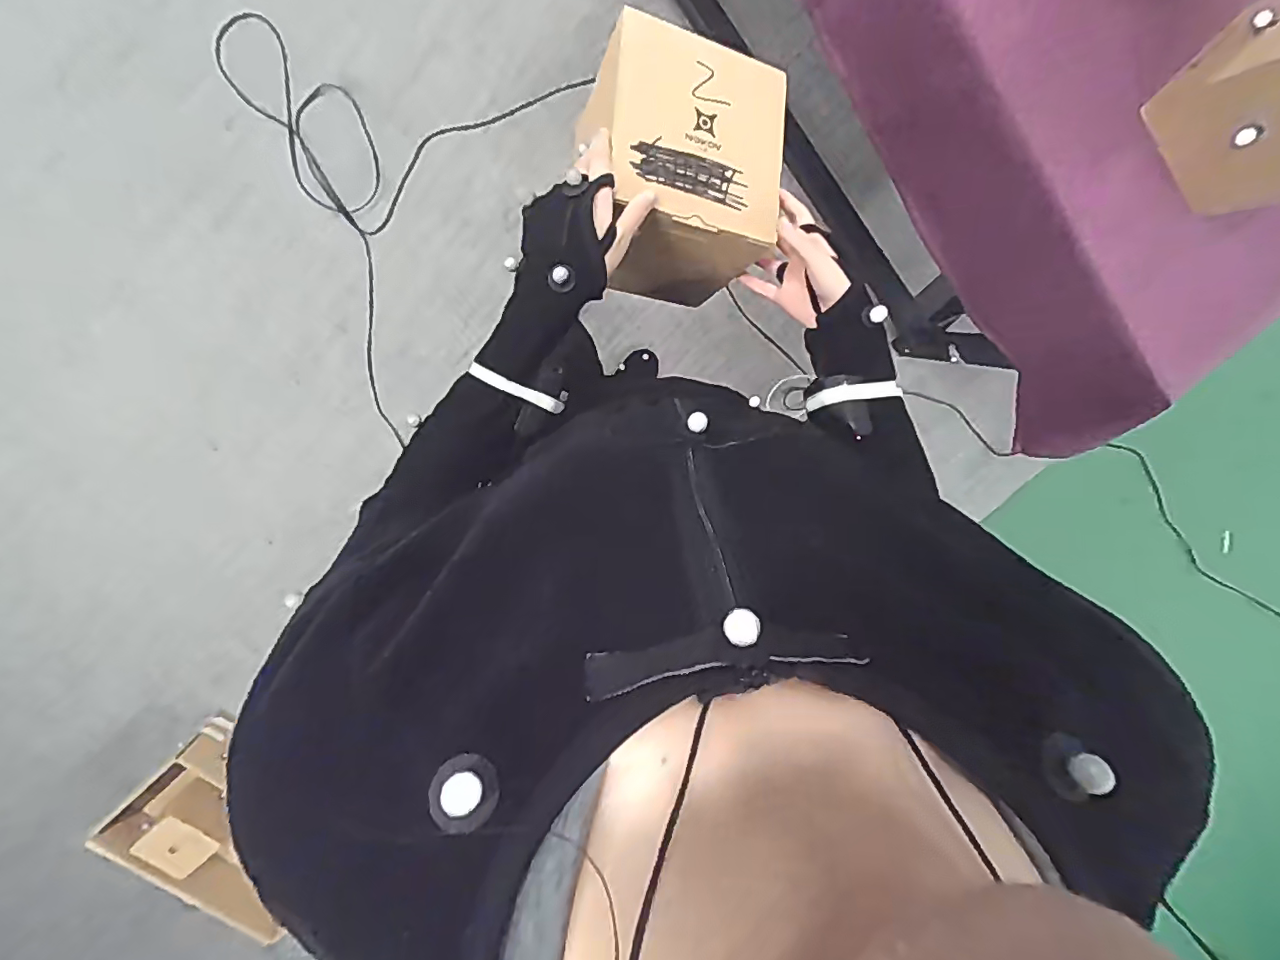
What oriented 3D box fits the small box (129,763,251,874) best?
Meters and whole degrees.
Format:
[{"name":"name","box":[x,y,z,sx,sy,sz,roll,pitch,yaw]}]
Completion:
[{"name":"small box","box":[-1.270,0.961,1.544,0.179,0.176,0.168,-41,107,6]}]

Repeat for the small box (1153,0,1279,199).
[{"name":"small box","box":[0.747,-0.452,0.604,0.168,0.176,0.179,-44,105,8]}]
